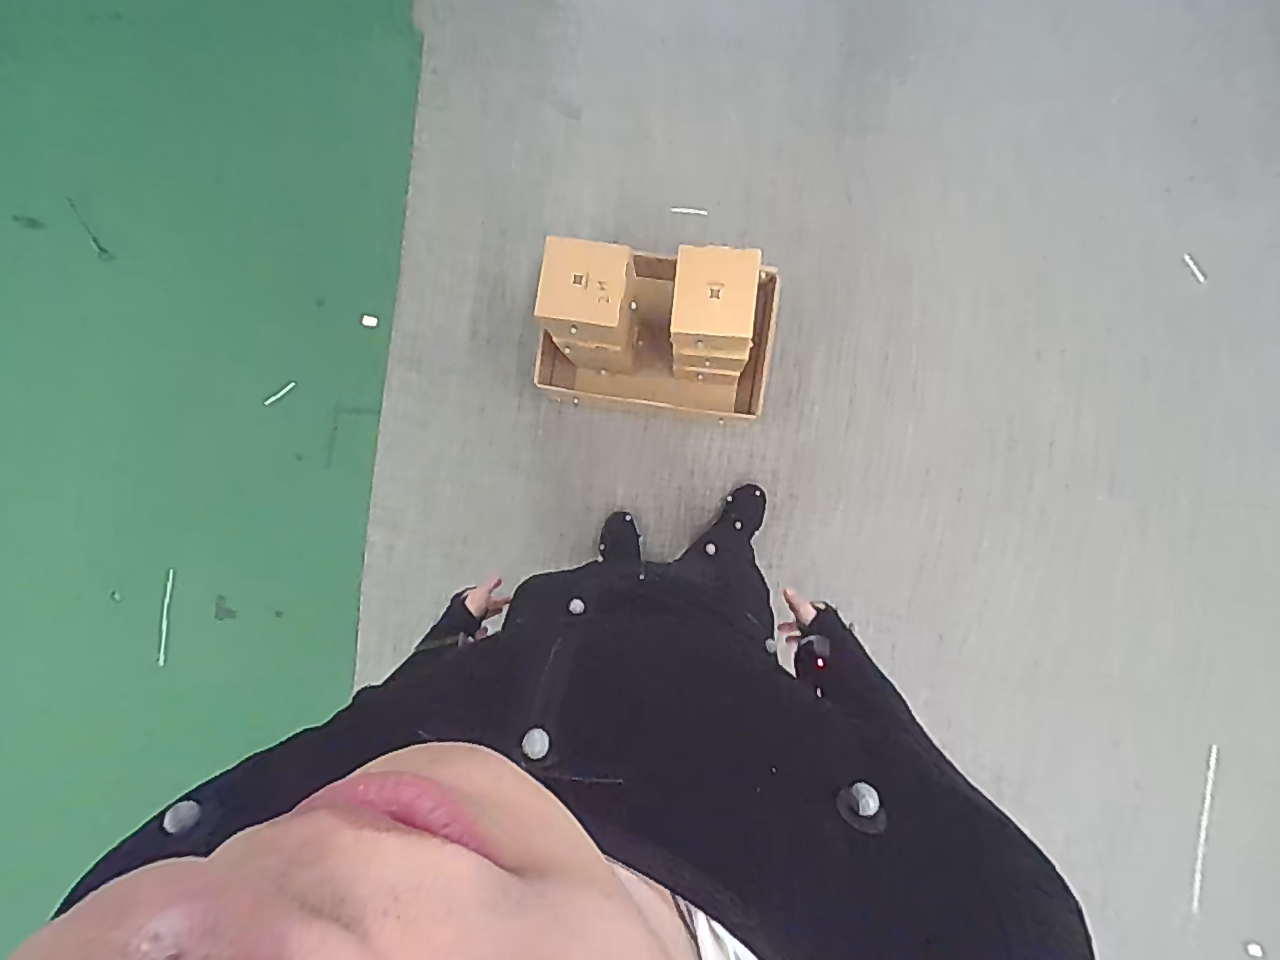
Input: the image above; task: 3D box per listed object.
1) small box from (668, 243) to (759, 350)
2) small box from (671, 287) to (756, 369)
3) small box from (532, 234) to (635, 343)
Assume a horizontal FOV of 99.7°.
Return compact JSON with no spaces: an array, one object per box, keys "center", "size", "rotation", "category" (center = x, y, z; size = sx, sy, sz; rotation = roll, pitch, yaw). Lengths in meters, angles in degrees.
[{"center":[0.155,-0.380,1.145],"size":[0.168,0.176,0.179],"rotation":[6,92,6],"category":"small box"},{"center":[0.173,-0.369,1.306],"size":[0.179,0.176,0.168],"rotation":[7,93,5],"category":"small box"},{"center":[-0.114,-0.402,1.159],"size":[0.179,0.176,0.168],"rotation":[9,91,4],"category":"small box"}]
